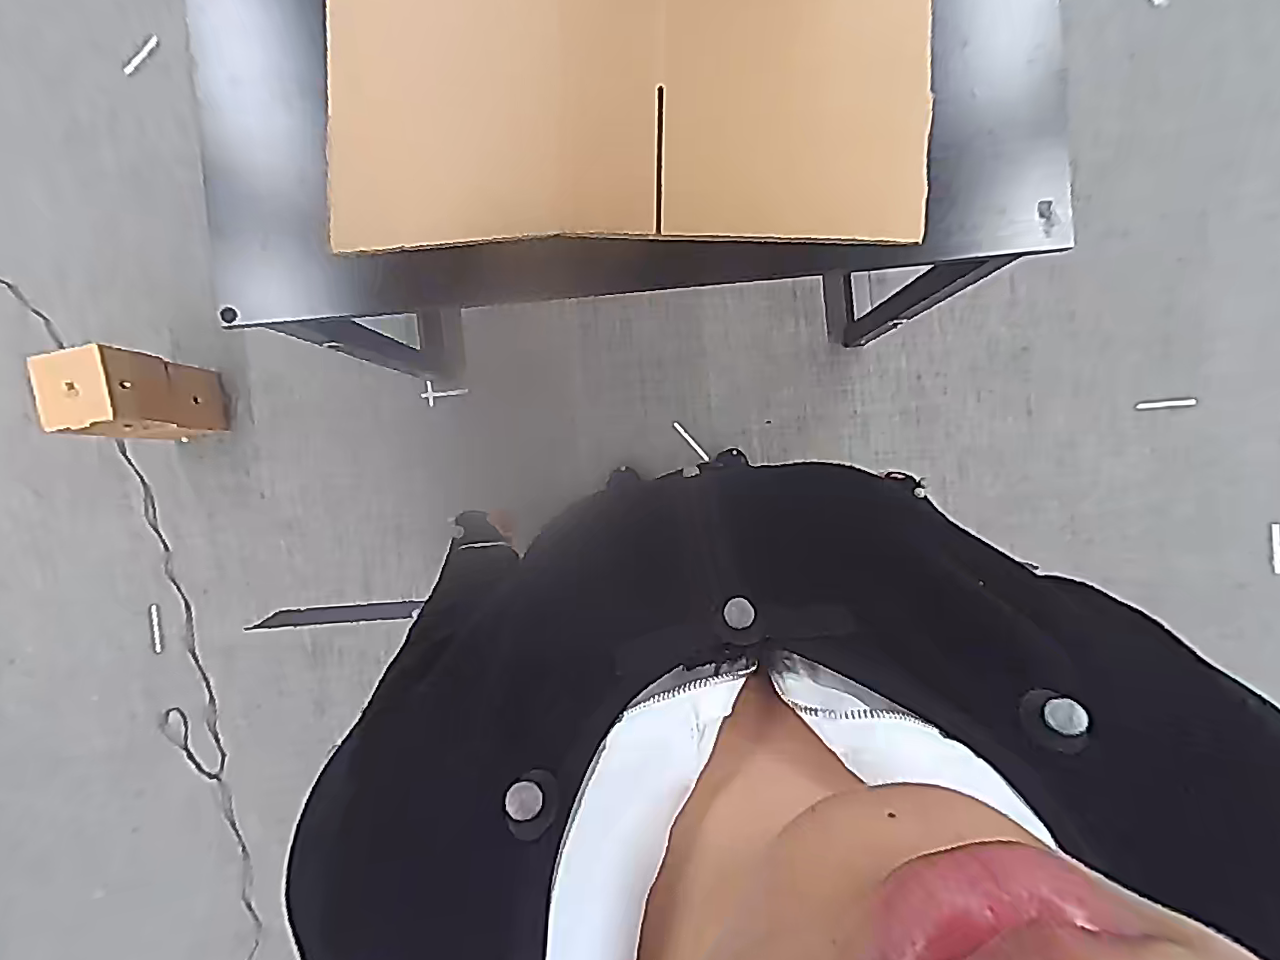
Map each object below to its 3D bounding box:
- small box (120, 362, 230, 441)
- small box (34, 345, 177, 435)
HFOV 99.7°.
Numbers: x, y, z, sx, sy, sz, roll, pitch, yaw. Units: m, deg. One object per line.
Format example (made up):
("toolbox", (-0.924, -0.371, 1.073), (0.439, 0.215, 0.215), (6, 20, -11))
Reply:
("small box", (-1.255, -0.205, 1.454), (0.168, 0.176, 0.179), (-9, 92, 2))
("small box", (-1.261, -0.205, 1.291), (0.168, 0.176, 0.179), (-11, 91, 1))
